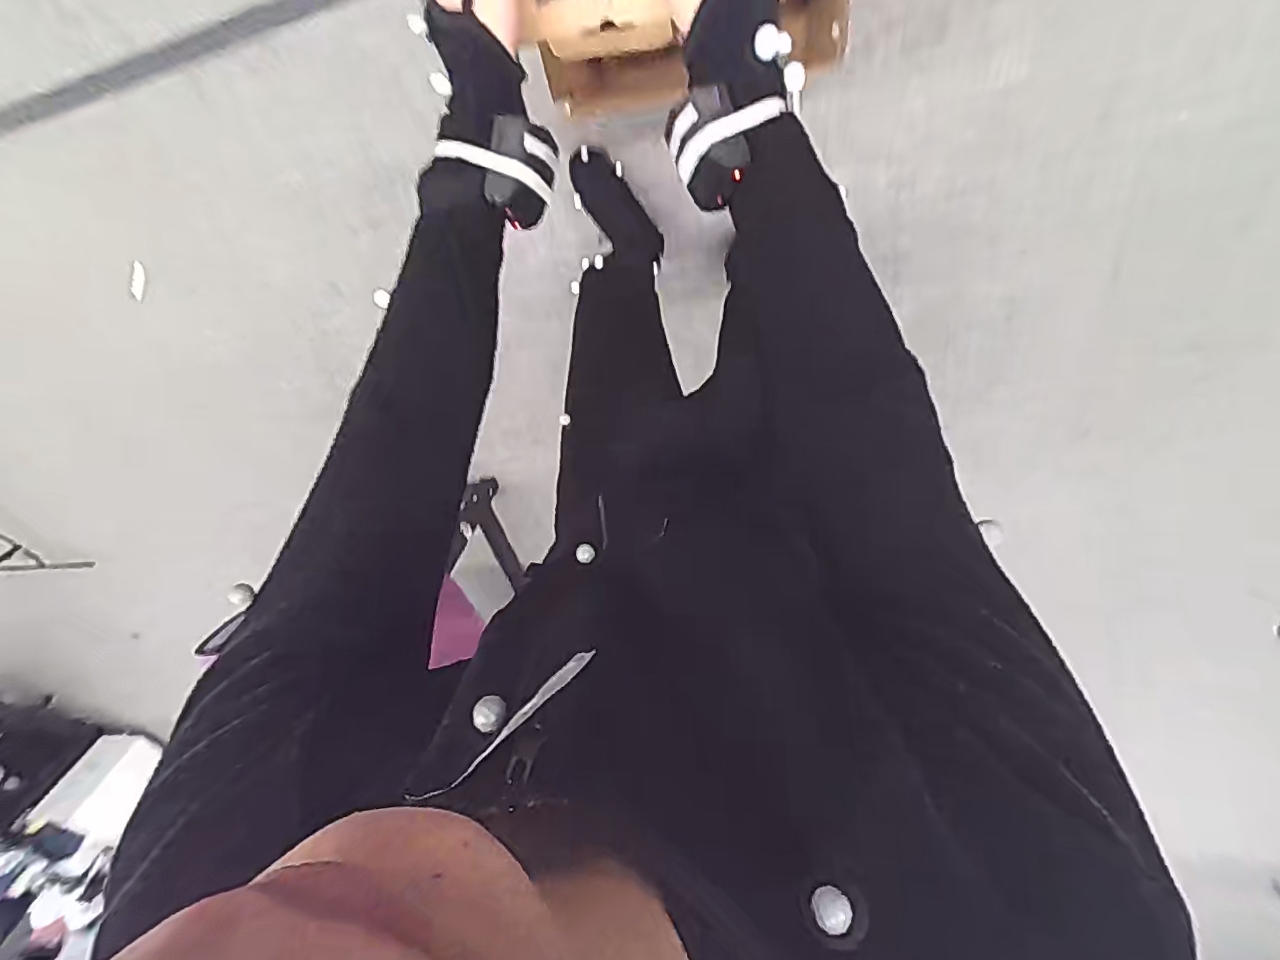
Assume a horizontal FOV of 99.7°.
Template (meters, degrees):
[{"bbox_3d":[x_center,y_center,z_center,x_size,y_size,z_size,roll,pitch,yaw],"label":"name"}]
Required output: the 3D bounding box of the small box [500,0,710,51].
[{"bbox_3d":[-0.028,-0.477,0.443,0.168,0.176,0.179,-2,129,9],"label":"small box"}]
